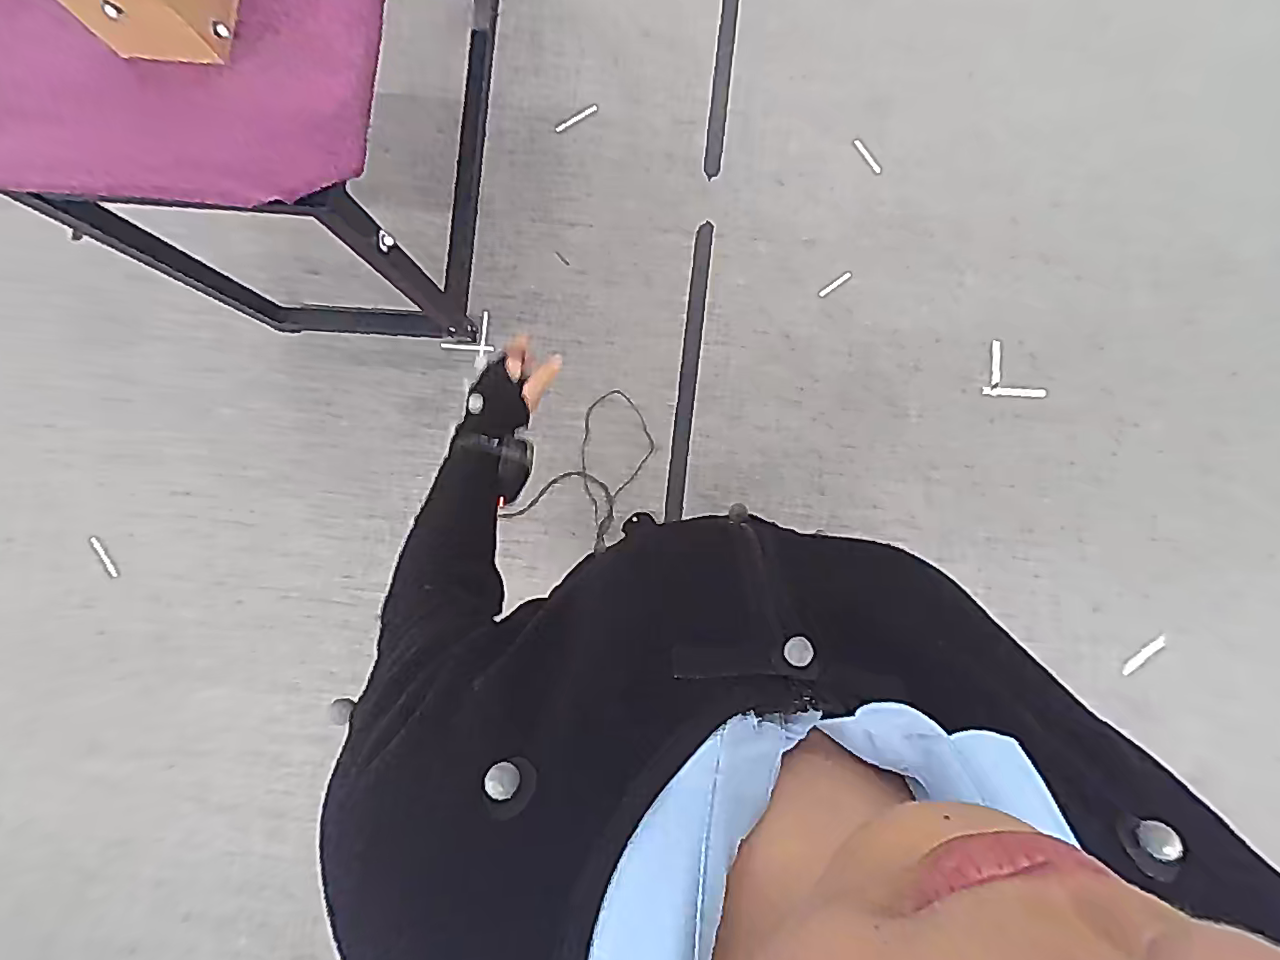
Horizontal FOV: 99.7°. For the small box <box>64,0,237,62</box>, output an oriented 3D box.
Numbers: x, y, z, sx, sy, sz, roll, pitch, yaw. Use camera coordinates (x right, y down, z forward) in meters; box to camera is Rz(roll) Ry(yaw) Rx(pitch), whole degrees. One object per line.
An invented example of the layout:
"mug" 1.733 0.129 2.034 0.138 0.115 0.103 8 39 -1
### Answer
"small box" -0.722 -0.747 0.778 0.179 0.176 0.168 5 86 2
